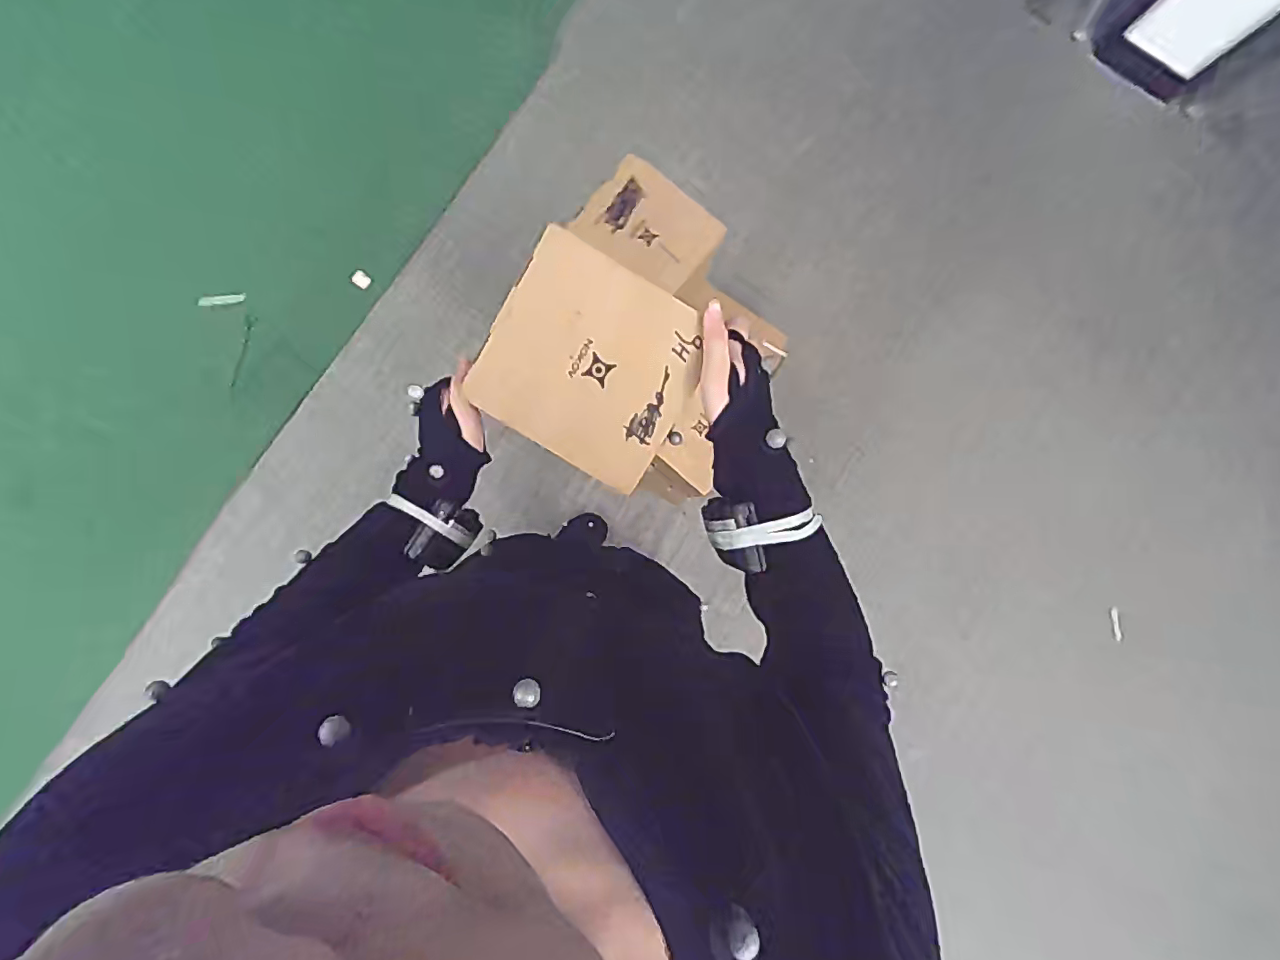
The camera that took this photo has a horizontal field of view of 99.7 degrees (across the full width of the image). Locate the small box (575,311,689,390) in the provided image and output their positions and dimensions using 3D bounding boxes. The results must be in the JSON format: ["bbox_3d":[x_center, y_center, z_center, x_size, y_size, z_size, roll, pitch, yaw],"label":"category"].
[{"bbox_3d":[-0.021,-0.311,1.155,0.179,0.176,0.168,33,83,-1],"label":"small box"}]

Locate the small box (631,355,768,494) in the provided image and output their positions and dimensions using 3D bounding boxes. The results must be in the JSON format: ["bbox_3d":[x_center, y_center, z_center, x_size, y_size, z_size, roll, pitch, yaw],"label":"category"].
[{"bbox_3d":[0.096,-0.091,0.984,0.168,0.176,0.179,42,85,-1],"label":"small box"}]

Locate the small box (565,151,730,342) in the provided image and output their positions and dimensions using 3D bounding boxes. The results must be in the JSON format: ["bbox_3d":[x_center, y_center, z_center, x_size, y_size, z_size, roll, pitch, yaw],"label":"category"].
[{"bbox_3d":[0.005,-0.342,0.830,0.179,0.176,0.168,40,85,-1],"label":"small box"}]
